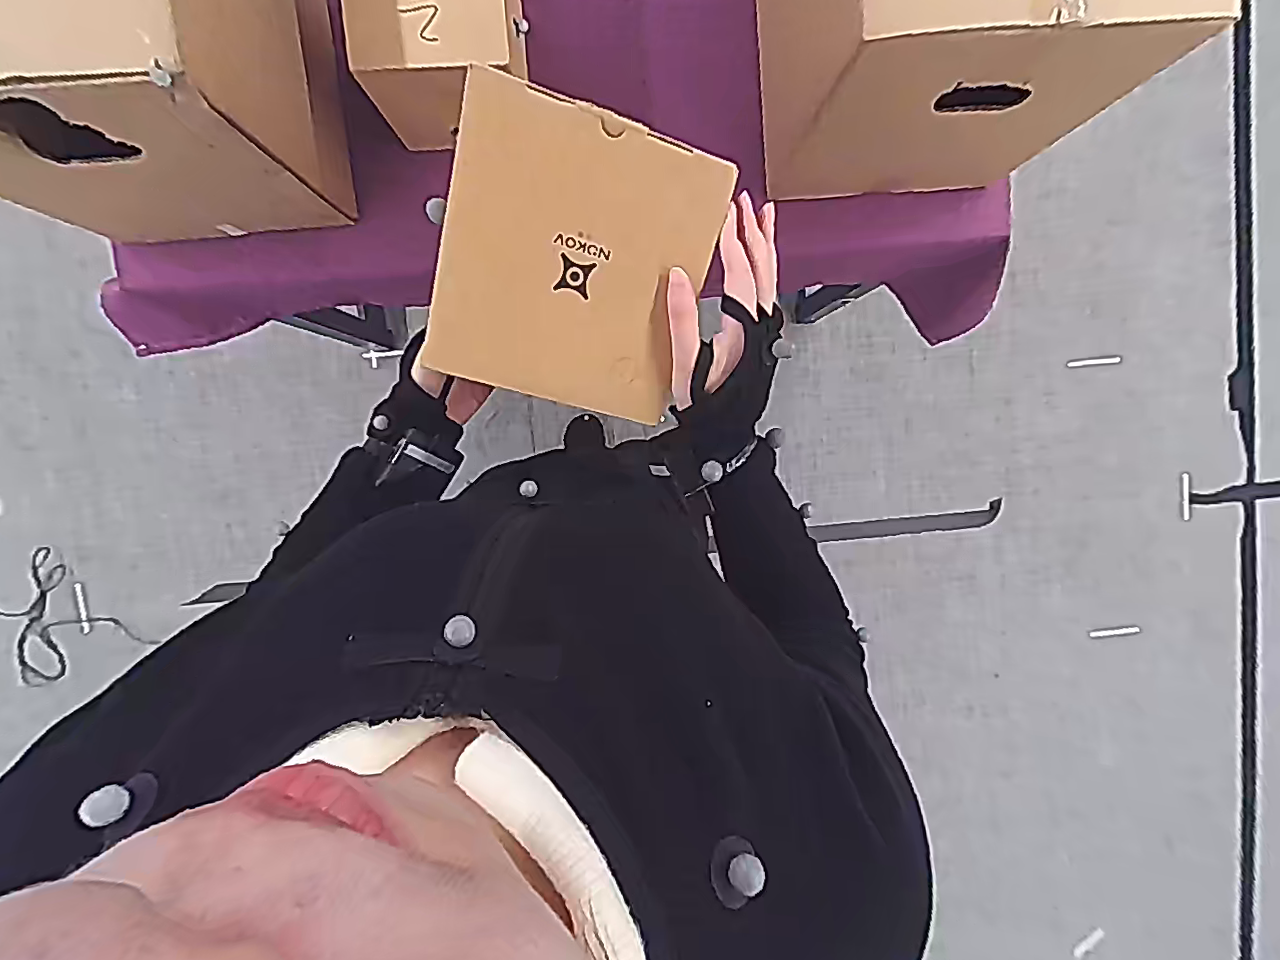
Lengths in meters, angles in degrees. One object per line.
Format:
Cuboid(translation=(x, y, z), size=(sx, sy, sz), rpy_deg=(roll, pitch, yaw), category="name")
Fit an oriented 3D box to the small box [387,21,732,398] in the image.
Cuboid(translation=(-0.037, -0.163, 0.374), size=(0.179, 0.176, 0.168), rpy_deg=(13, 90, 5), category="small box")
